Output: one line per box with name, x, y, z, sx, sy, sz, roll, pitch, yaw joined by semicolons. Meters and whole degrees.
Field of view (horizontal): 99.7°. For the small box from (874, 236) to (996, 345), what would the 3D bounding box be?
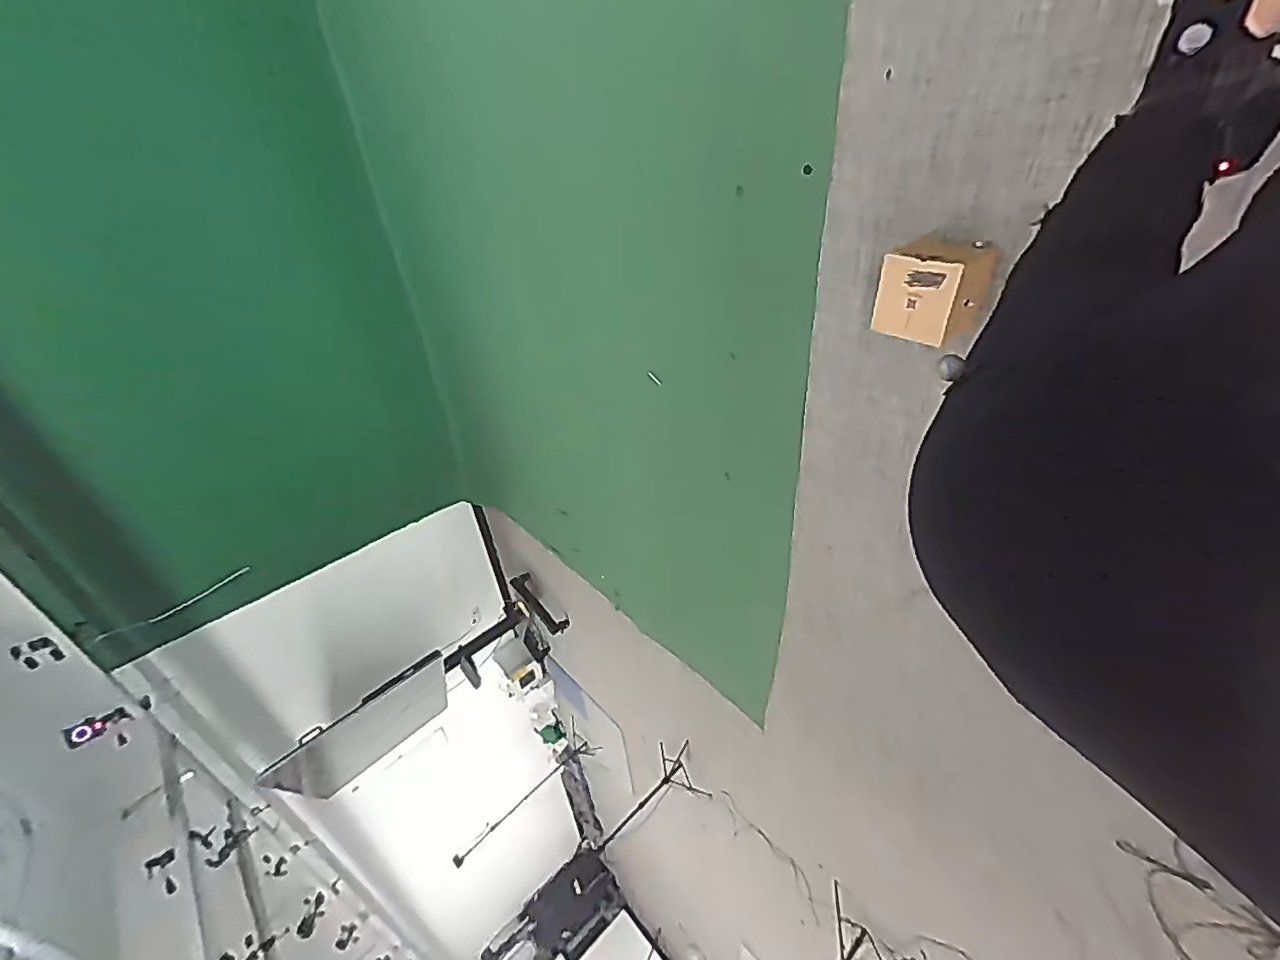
small box;0.653;-0.428;1.198;0.168;0.176;0.179;32;140;38
